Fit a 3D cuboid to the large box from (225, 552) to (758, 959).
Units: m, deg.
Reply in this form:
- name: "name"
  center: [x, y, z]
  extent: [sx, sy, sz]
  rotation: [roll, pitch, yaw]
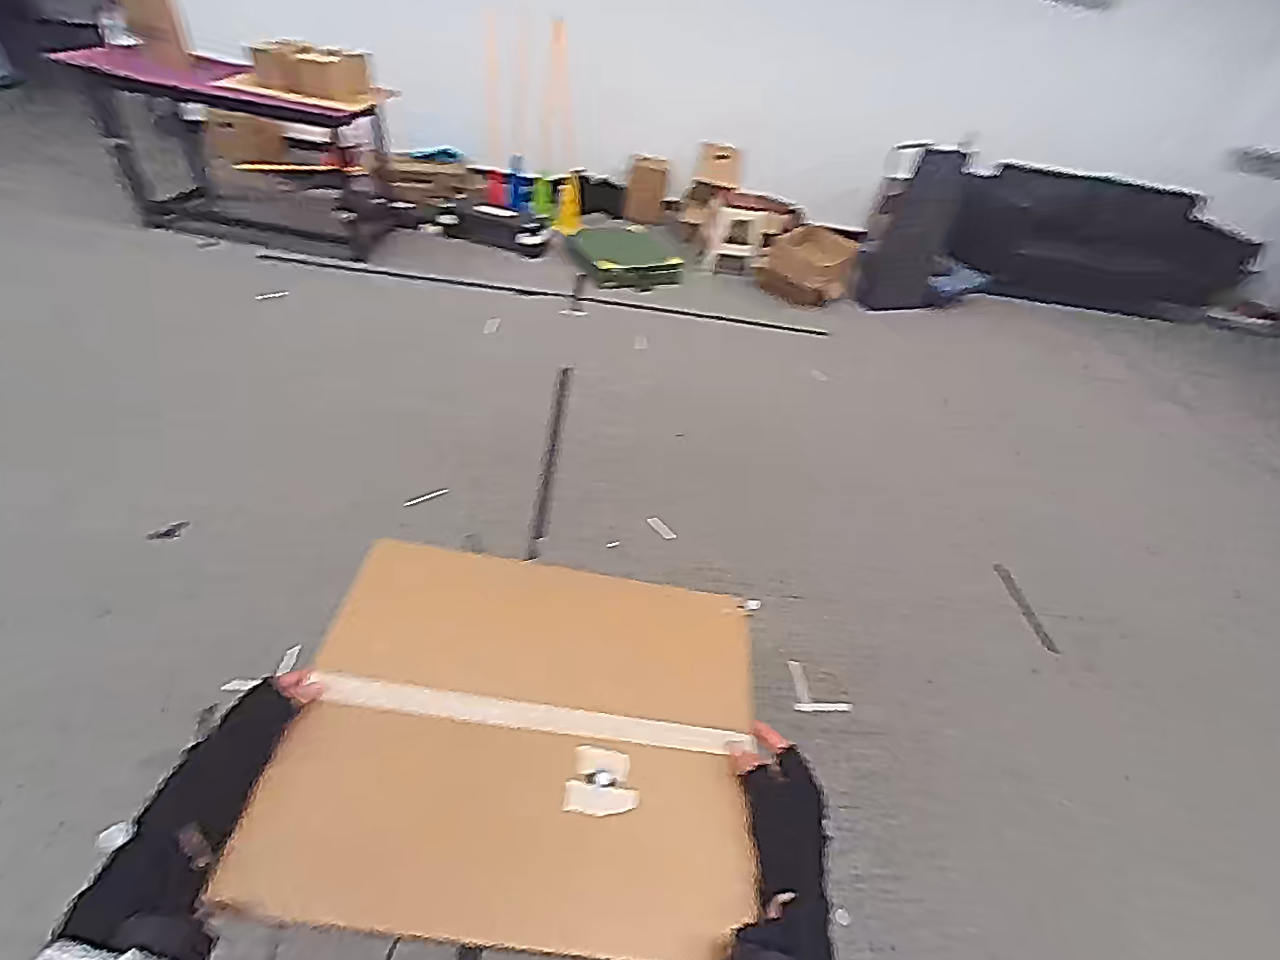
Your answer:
- name: "large box"
  center: [-0.121, 0.319, 0.608]
  extent: [0.408, 0.320, 0.320]
  rotation: [11, 49, -5]
